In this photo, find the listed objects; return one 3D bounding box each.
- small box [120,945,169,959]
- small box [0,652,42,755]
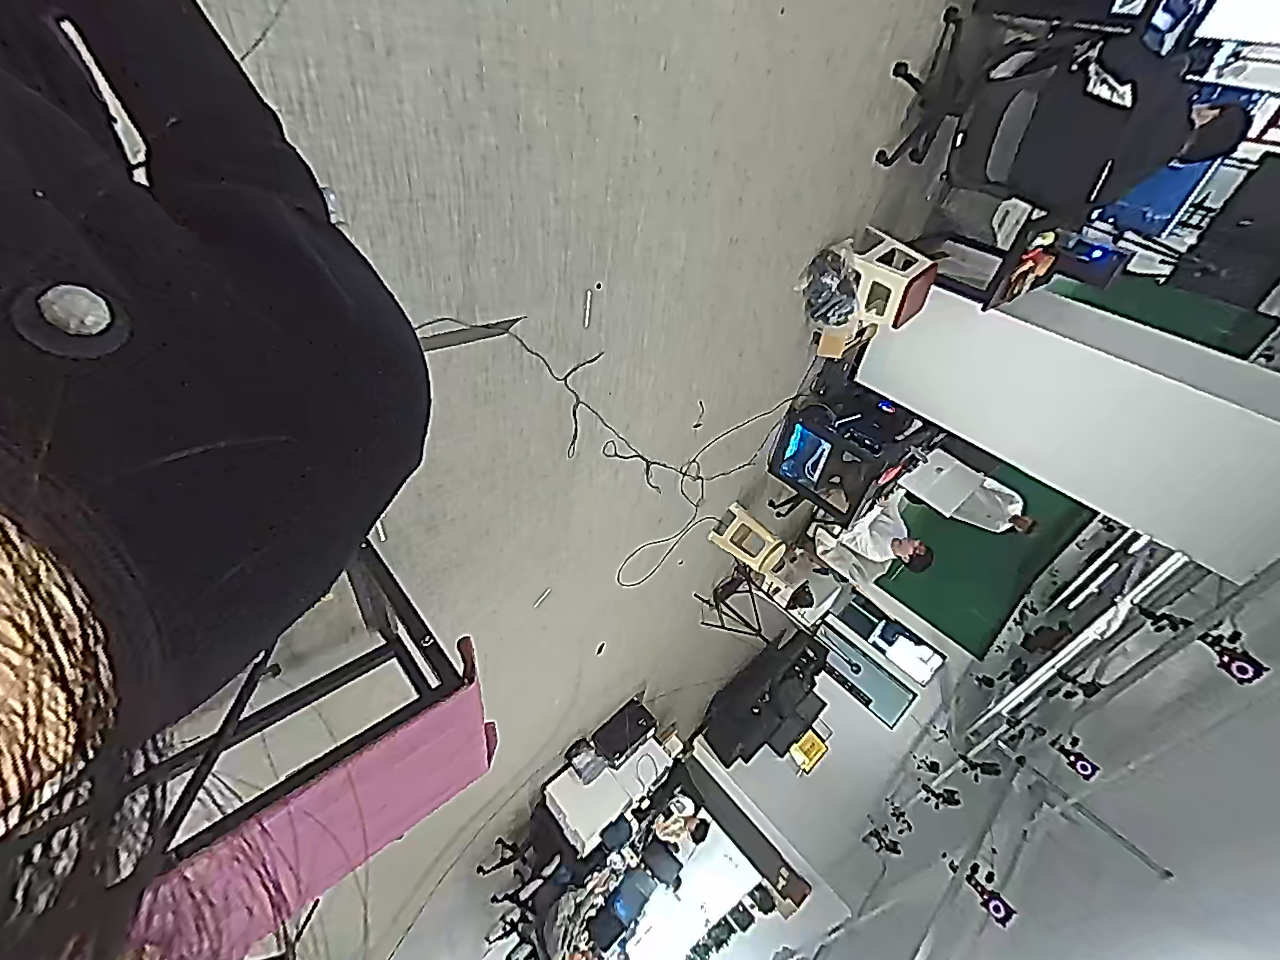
[{"bbox_3d":[-1.077,1.117,1.101,0.179,0.176,0.168,-26,142,-37],"label":"small box"},{"bbox_3d":[-1.567,0.545,1.281,0.179,0.176,0.168,-12,132,-49],"label":"small box"}]
